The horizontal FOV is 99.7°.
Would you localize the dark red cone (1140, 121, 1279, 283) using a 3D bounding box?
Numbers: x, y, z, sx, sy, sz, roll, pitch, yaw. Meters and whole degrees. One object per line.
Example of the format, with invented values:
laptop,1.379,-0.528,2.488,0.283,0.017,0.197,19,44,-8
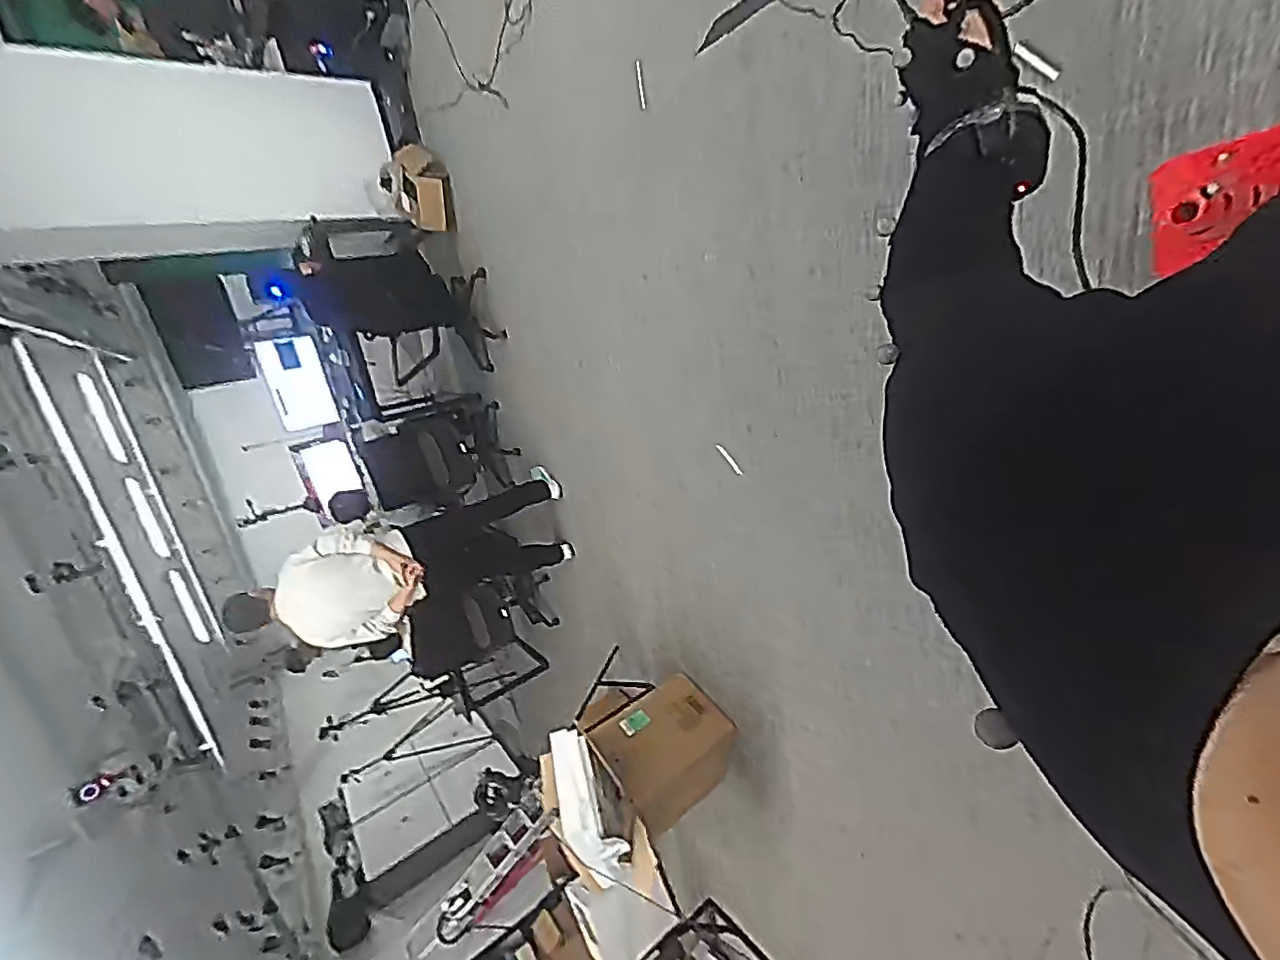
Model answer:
dark red cone,0.811,-0.393,0.780,0.202,0.394,0.201,1,107,55
